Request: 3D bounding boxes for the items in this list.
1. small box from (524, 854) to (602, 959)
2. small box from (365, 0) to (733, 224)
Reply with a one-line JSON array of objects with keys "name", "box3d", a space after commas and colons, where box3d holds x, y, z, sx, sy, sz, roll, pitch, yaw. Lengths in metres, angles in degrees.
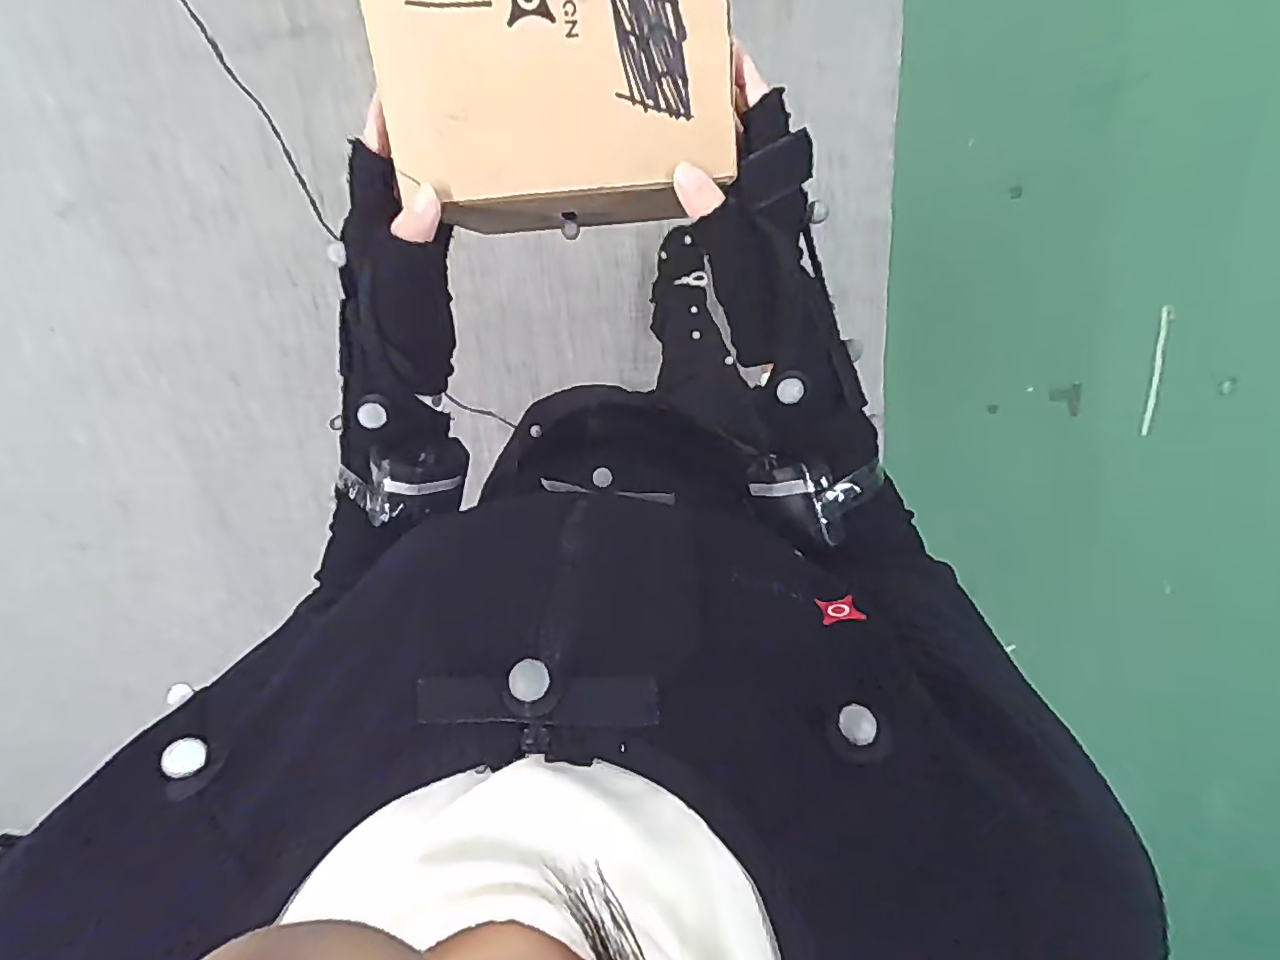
[{"name": "small box", "box3d": [-0.181, 1.047, 1.312, 0.168, 0.176, 0.179, 0, 103, 1]}, {"name": "small box", "box3d": [-0.045, -0.257, 0.330, 0.179, 0.176, 0.168, -4, 111, 1]}]
